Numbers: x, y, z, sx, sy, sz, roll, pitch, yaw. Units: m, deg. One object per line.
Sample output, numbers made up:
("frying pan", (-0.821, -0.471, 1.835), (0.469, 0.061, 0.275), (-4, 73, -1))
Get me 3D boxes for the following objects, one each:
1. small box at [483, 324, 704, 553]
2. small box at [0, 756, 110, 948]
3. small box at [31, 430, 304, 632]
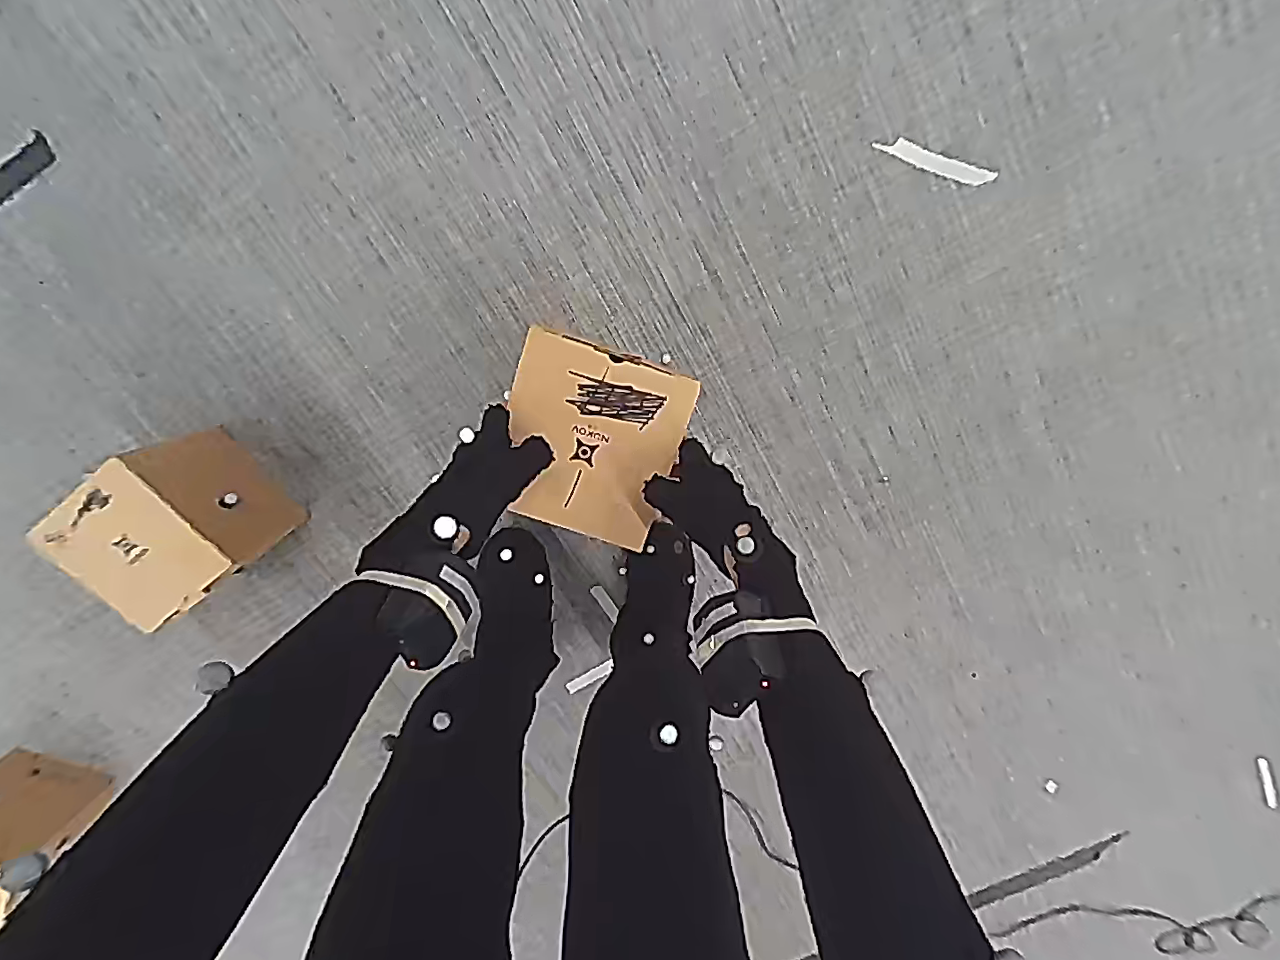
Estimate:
("small box", (-0.046, -0.052, 0.575), (0.168, 0.176, 0.179), (18, 103, -4))
("small box", (-1.015, 0.586, 0.867), (0.168, 0.176, 0.179), (23, 105, -7))
("small box", (-0.603, 0.057, 0.720), (0.168, 0.176, 0.179), (-36, 106, 8))
